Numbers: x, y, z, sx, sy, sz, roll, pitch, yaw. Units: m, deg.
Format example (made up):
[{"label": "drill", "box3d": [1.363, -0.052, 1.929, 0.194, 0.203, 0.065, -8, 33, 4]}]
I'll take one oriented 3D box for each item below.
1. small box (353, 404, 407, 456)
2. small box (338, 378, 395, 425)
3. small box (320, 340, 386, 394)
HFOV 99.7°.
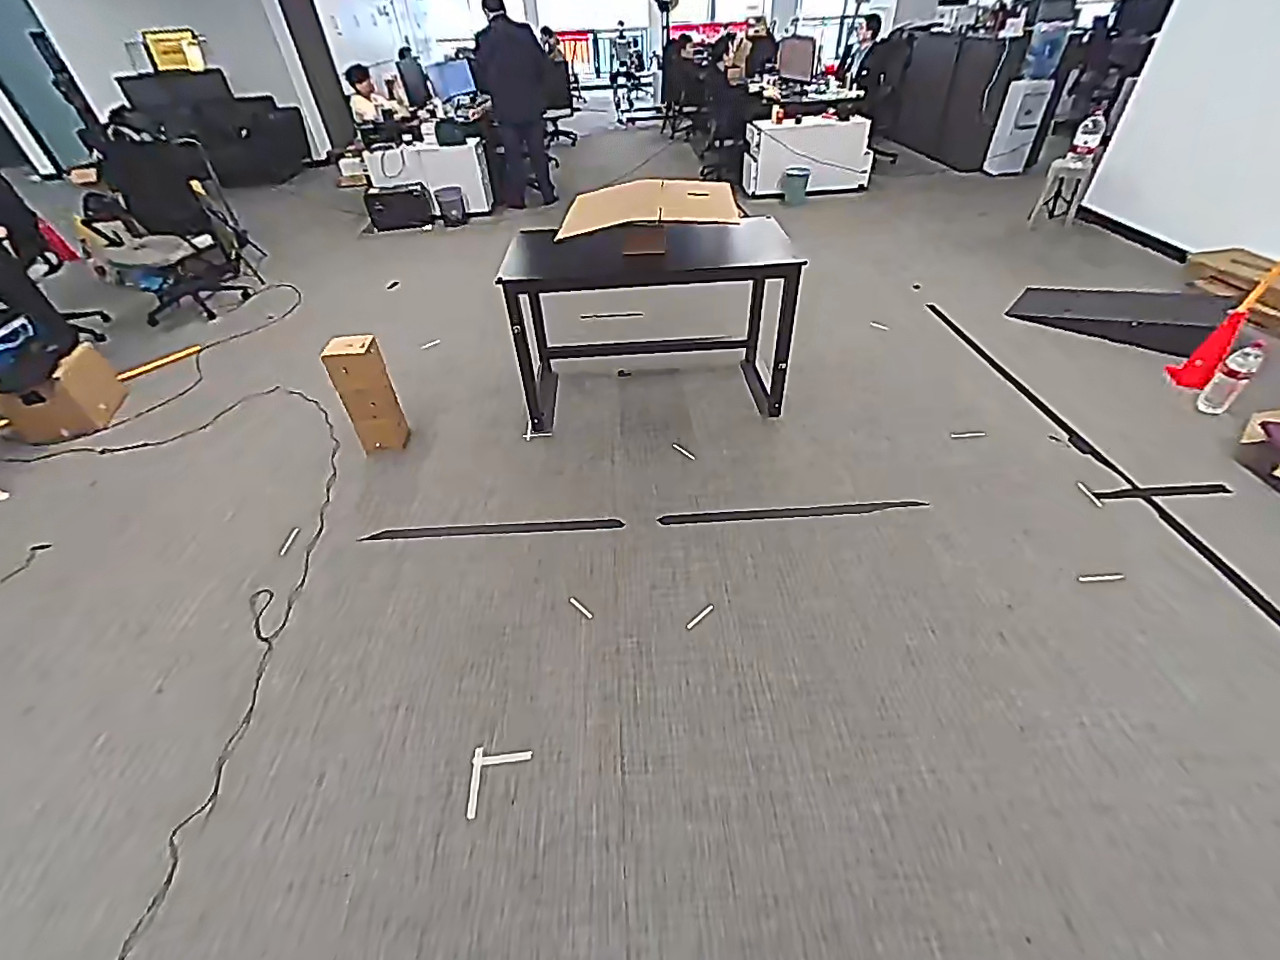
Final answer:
[{"label": "small box", "box3d": [-1.206, -0.233, 2.523, 0.168, 0.176, 0.179, -6, 42, -3]}, {"label": "small box", "box3d": [-1.216, -0.359, 2.420, 0.168, 0.176, 0.179, -8, 40, -7]}, {"label": "small box", "box3d": [-1.219, -0.481, 2.311, 0.179, 0.176, 0.168, -6, 41, -3]}]
